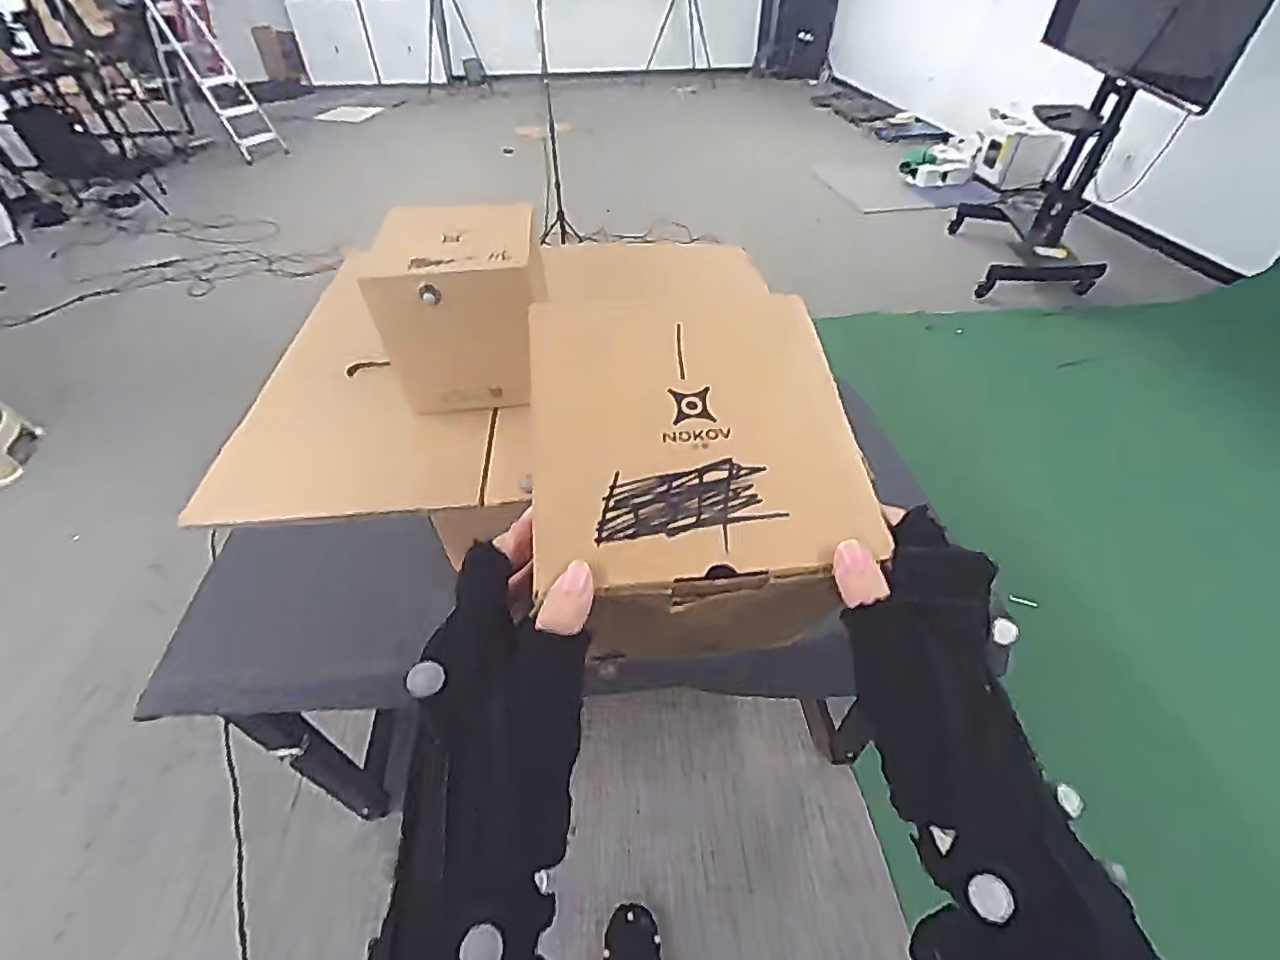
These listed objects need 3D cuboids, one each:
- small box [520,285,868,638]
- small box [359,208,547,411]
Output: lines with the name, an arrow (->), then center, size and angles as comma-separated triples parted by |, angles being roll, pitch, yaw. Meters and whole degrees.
small box -> 0.017, -0.001, 0.357 | 0.168, 0.176, 0.179 | -4, 61, -5
small box -> -0.197, -0.202, 0.639 | 0.168, 0.176, 0.179 | -5, 46, -3
